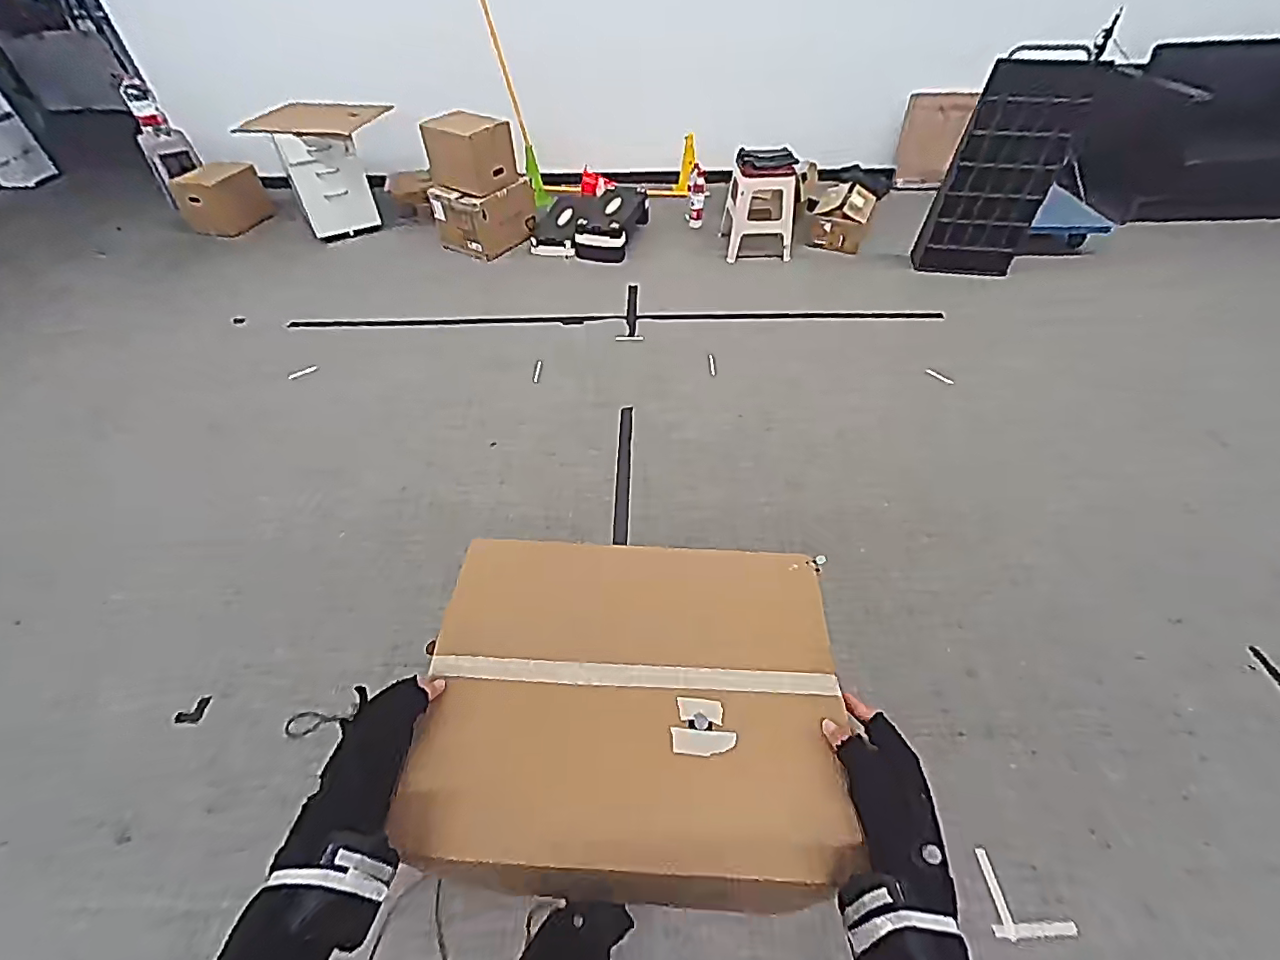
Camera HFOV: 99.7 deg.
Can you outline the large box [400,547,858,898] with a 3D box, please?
[{"bbox_3d":[-0.009,0.303,0.669,0.408,0.320,0.320,3,49,1],"label":"large box"}]
